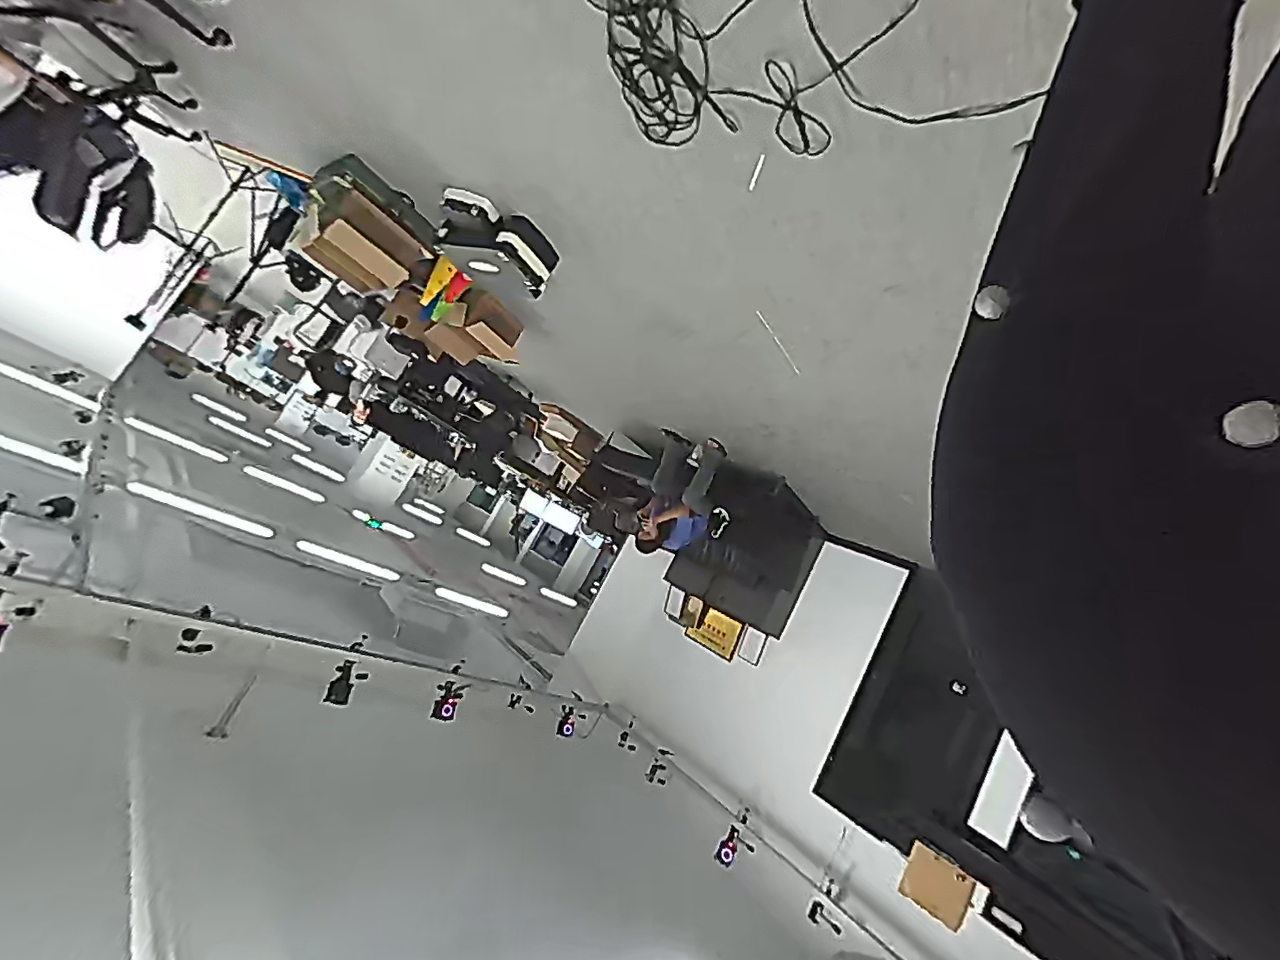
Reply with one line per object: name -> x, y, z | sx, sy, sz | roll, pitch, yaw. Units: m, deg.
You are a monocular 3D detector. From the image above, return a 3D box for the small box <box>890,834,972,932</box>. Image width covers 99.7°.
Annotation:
small box -> 0.885, 1.210, 1.640 | 0.168, 0.176, 0.179 | 21, 169, 42
